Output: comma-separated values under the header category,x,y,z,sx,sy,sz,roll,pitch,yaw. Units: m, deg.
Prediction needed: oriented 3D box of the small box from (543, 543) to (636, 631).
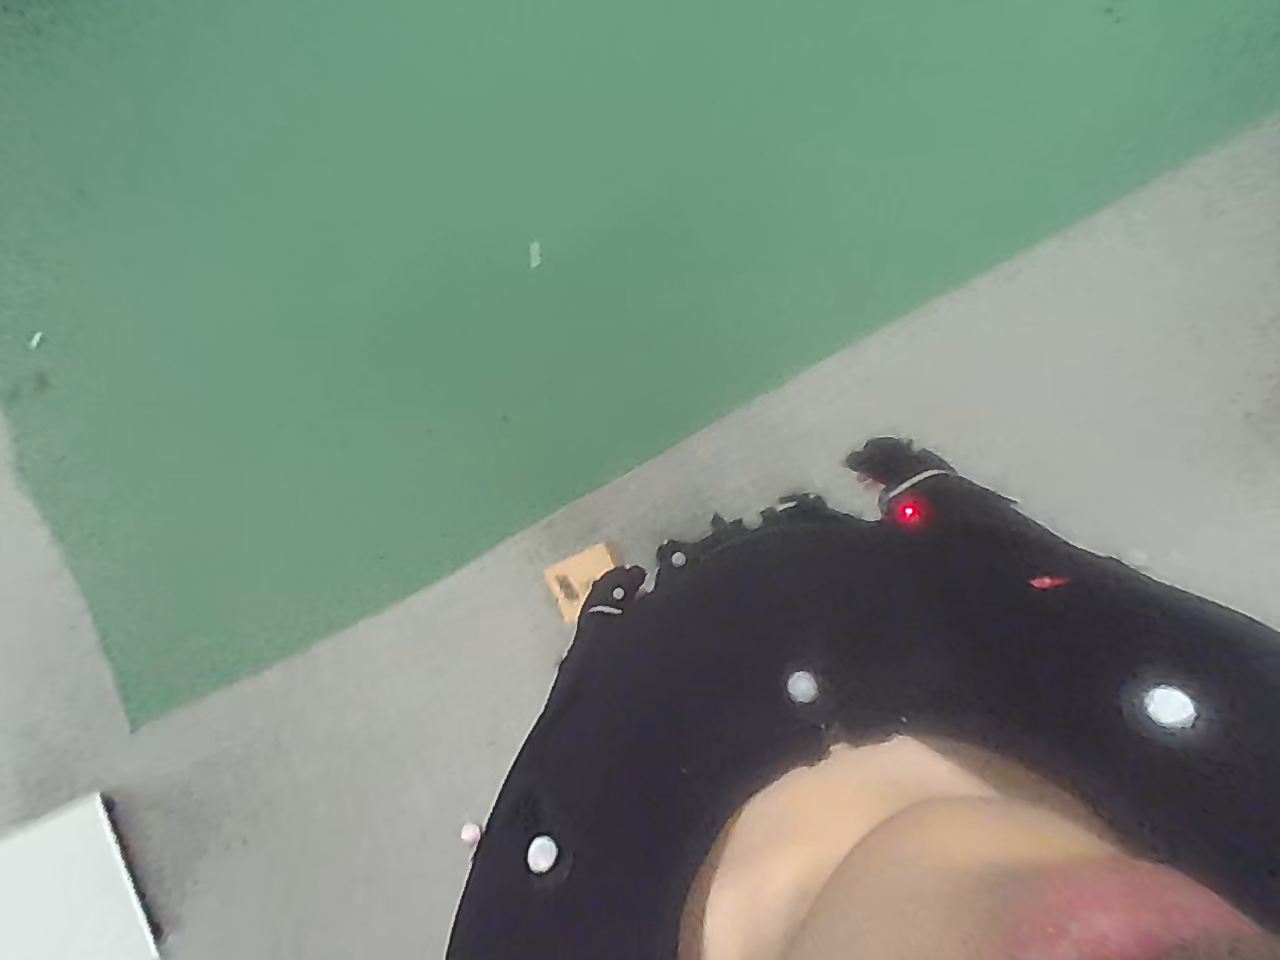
category,x,y,z,sx,sy,sz,roll,pitch,yaw
small box,-0.125,0.274,1.418,0.179,0.176,0.168,-26,84,2
